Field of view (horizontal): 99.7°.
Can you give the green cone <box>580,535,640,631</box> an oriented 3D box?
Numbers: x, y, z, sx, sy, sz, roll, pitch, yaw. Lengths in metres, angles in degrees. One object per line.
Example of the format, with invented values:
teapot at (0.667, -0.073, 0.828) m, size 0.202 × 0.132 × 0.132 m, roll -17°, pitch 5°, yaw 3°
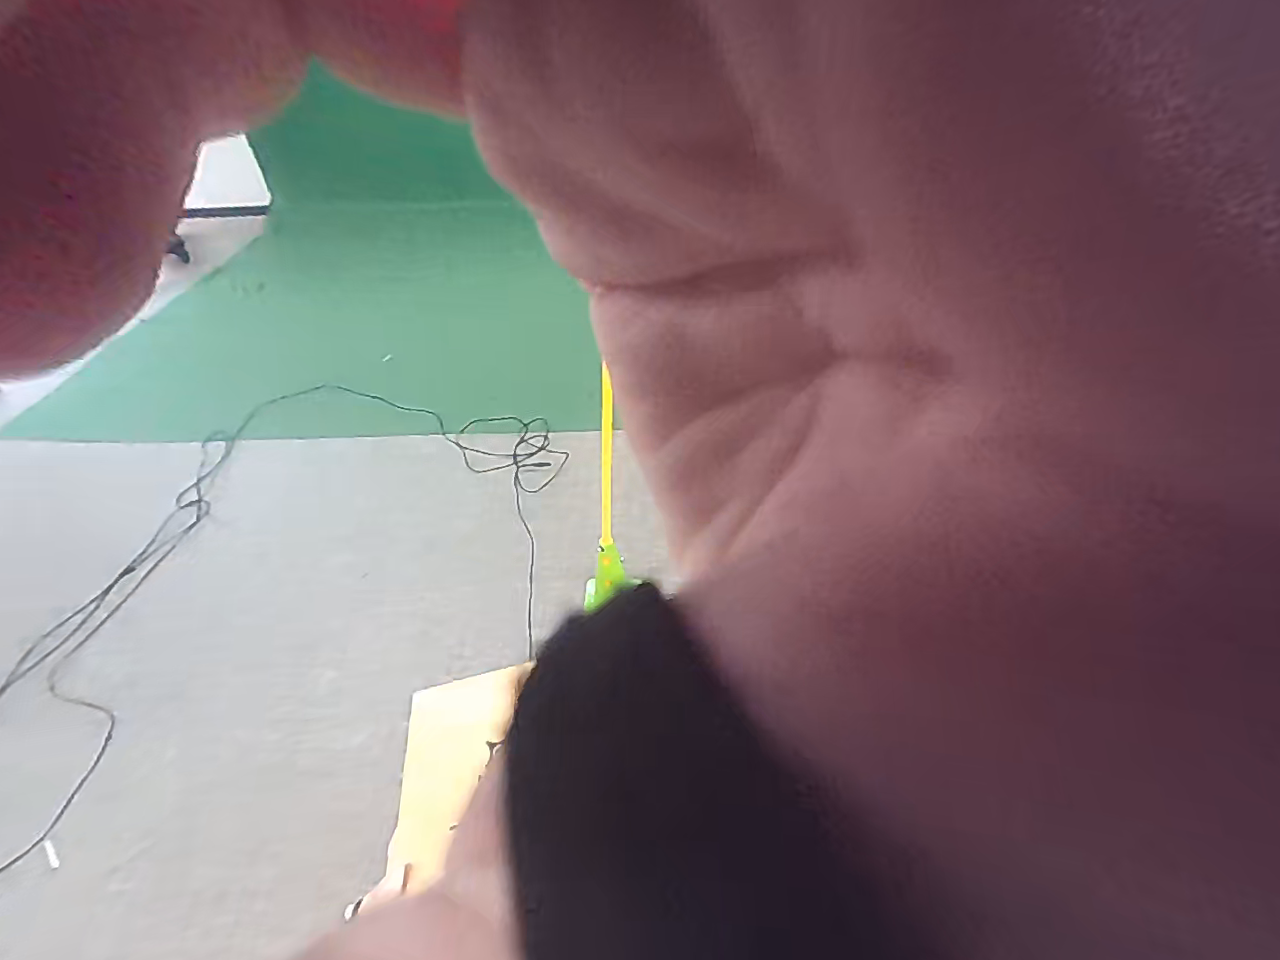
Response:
green cone at (-0.109, 0.305, 1.743) m, size 0.202 × 0.368 × 0.200 m, roll -1°, pitch 44°, yaw 2°
